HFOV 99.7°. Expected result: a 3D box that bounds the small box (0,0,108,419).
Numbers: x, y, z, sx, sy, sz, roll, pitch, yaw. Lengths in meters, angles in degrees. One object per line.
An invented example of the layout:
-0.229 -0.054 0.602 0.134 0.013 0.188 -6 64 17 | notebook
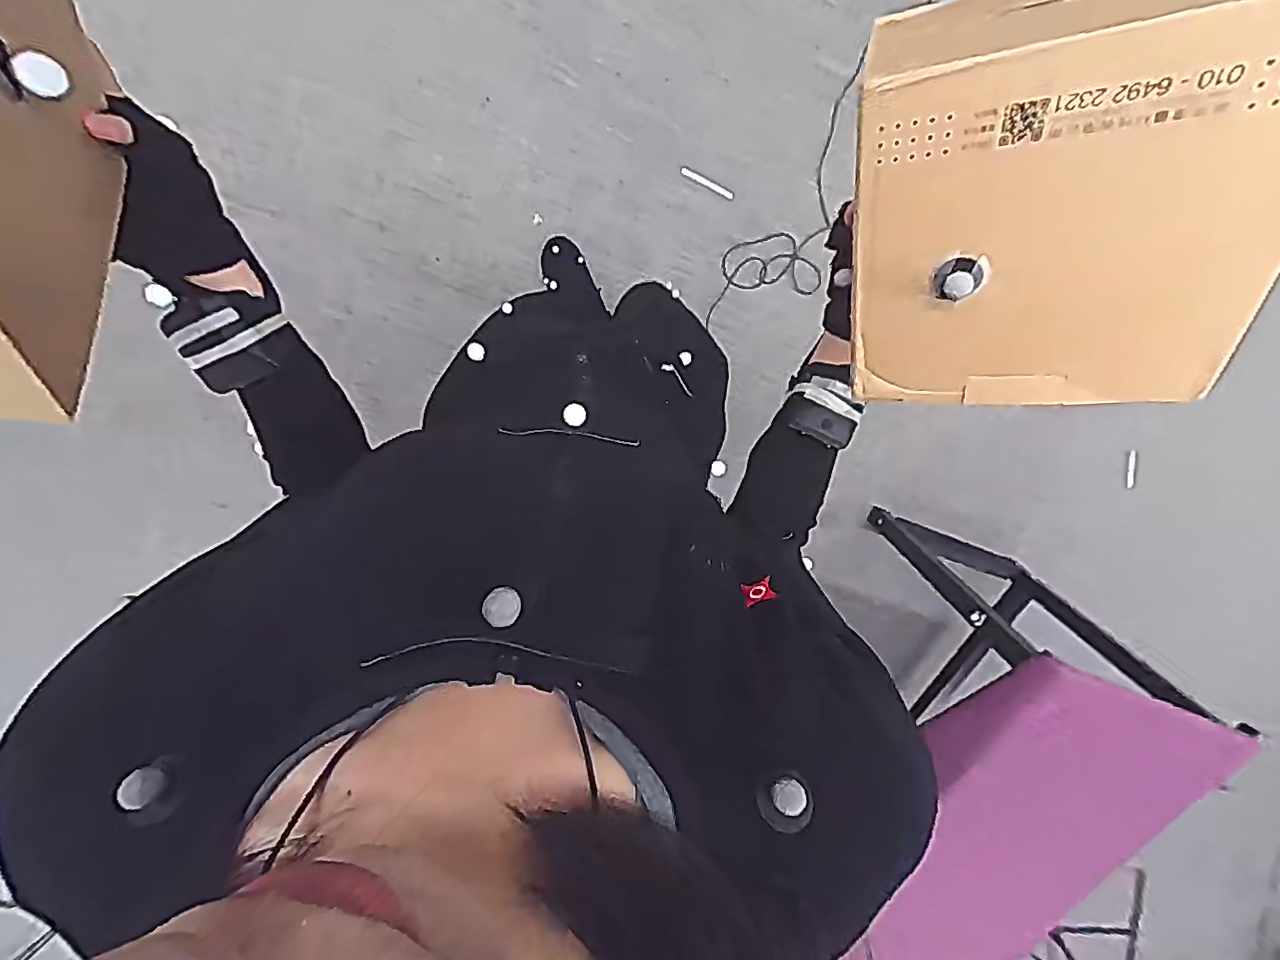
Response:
-0.323 -0.141 0.179 0.168 0.179 0.176 2 156 -31 | small box

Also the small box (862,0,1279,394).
0.208 -0.164 0.284 0.168 0.179 0.176 4 137 22 | small box
